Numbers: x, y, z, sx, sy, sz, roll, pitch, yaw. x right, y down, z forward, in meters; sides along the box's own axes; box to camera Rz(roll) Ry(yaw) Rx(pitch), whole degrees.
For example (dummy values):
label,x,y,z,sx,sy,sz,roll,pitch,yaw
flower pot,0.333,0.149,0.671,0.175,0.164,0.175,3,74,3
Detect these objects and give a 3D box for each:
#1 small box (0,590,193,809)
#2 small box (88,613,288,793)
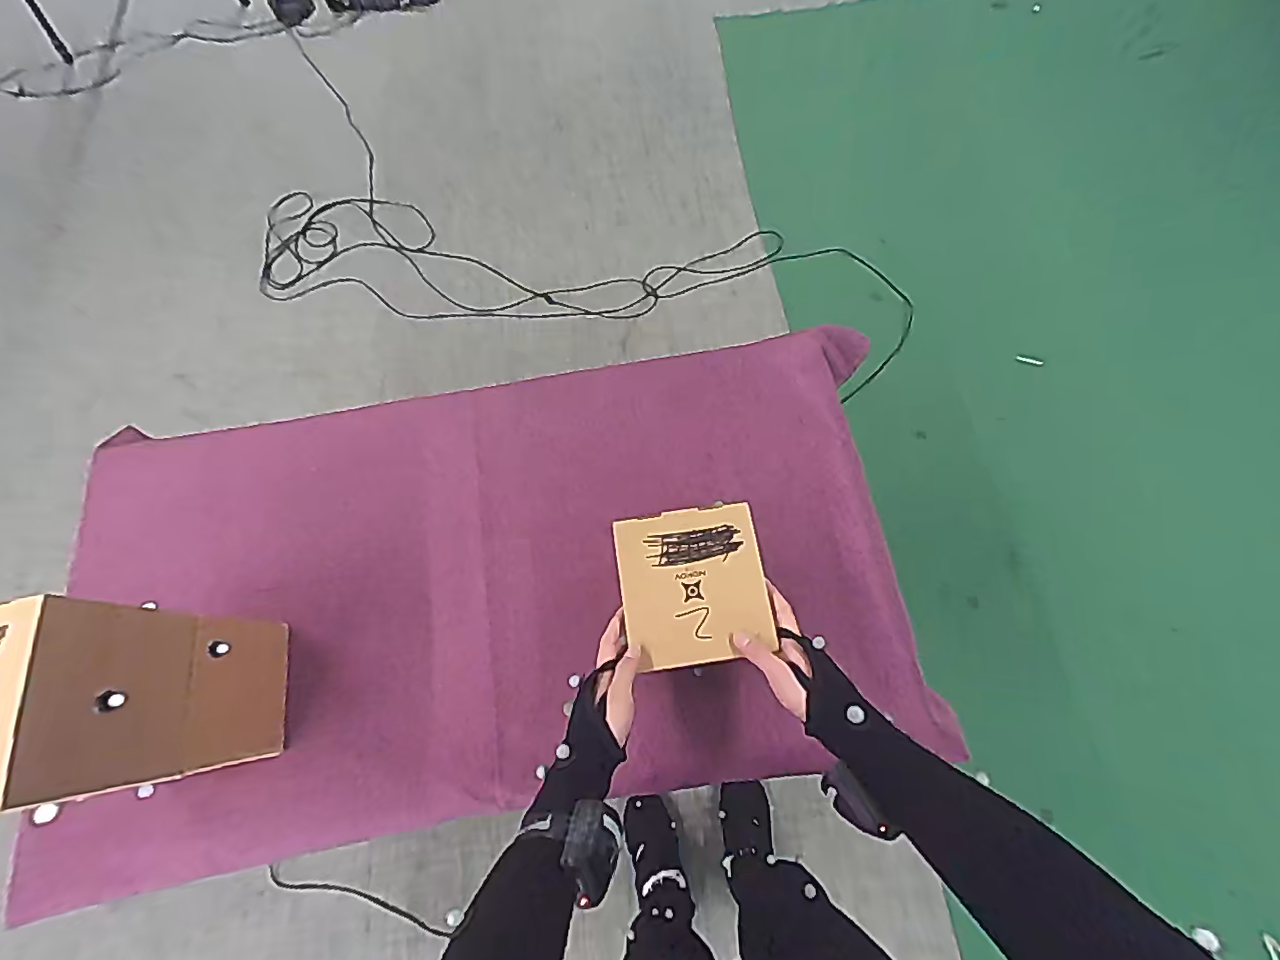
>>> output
label,x,y,z,sx,sy,sz,roll,pitch,yaw
small box,-0.589,0.219,0.529,0.168,0.176,0.179,-10,71,0
small box,-0.580,0.276,0.683,0.168,0.176,0.179,-11,70,0
